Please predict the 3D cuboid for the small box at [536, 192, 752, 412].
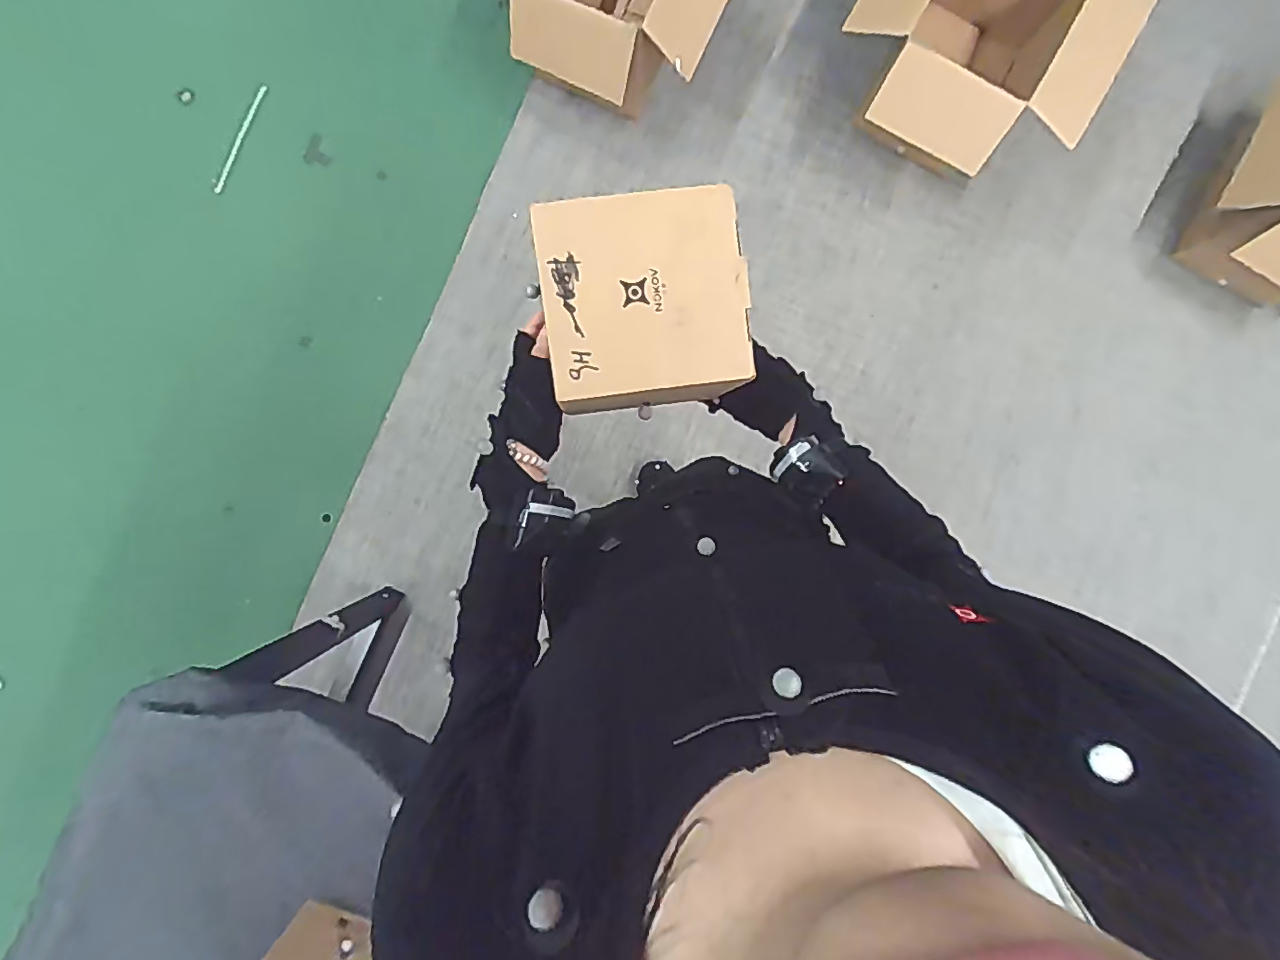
[{"bbox_3d":[-0.002,-0.163,0.543,0.179,0.176,0.168,-7,92,-5],"label":"small box"}]
